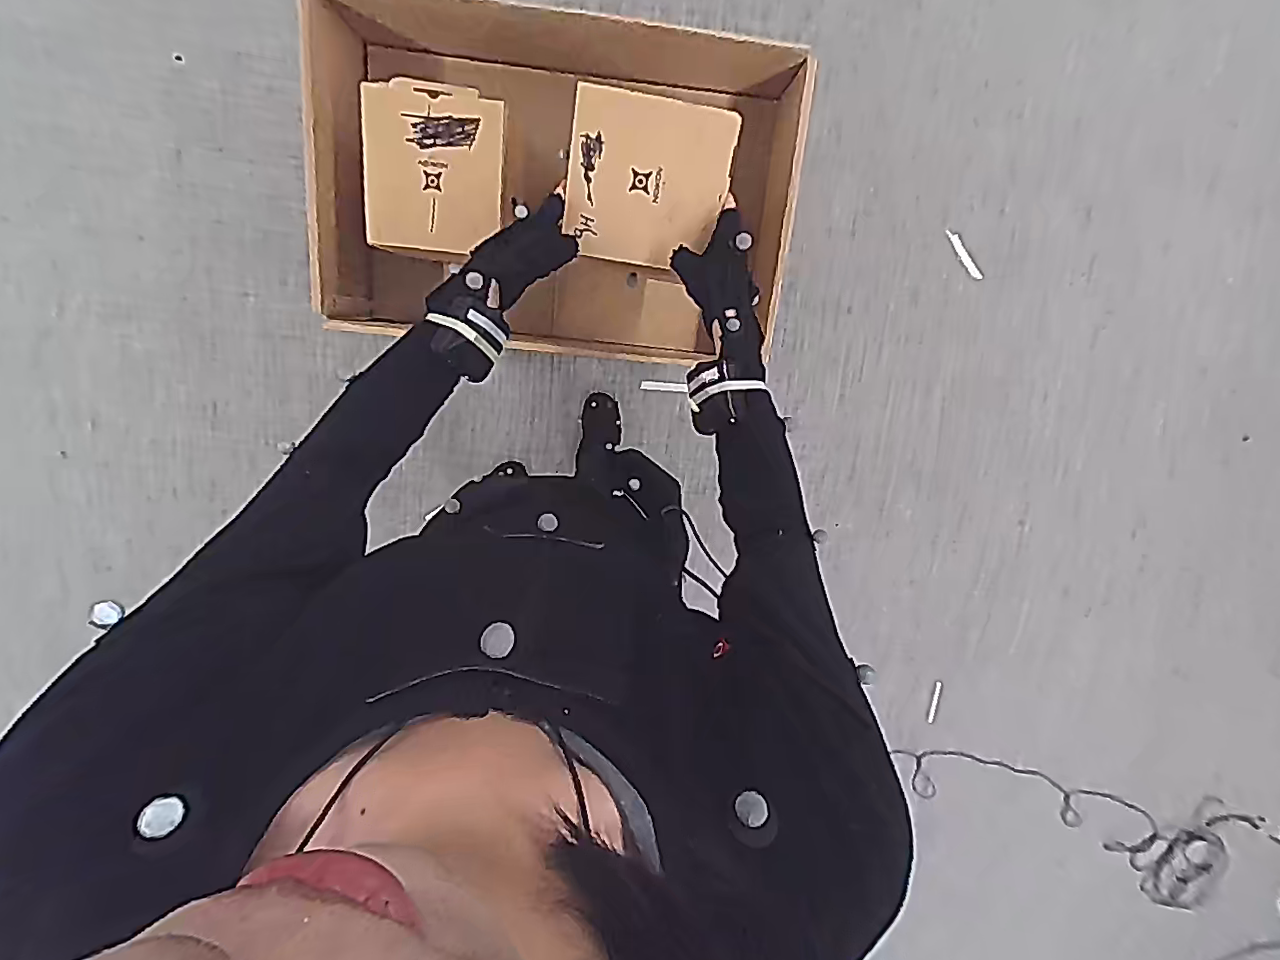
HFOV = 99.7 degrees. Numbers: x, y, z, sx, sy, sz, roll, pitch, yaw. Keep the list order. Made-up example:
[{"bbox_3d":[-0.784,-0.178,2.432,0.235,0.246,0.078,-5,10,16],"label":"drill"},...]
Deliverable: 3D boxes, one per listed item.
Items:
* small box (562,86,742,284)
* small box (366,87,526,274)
[{"bbox_3d":[0.006,-0.341,0.664,0.179,0.176,0.168,8,106,-6],"label":"small box"},{"bbox_3d":[-0.250,-0.386,0.729,0.168,0.176,0.179,5,106,-4],"label":"small box"}]
